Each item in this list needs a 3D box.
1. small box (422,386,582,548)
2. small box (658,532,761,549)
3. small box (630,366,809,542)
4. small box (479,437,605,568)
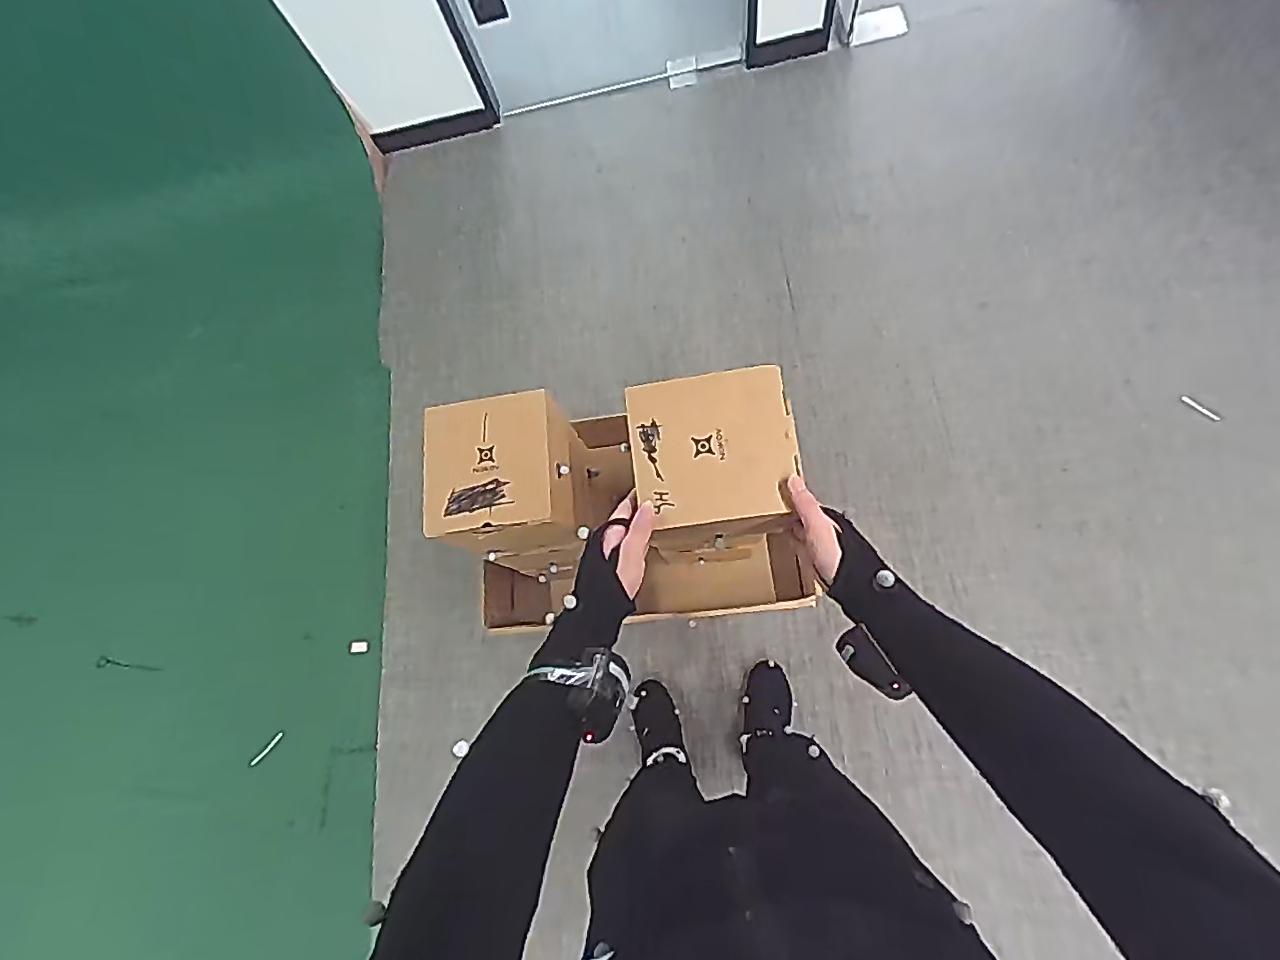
[{"bbox_3d":[-0.180,-0.006,0.745,0.168,0.176,0.179,-7,72,5],"label":"small box"},{"bbox_3d":[0.105,0.018,0.874,0.179,0.176,0.168,-4,76,6],"label":"small box"},{"bbox_3d":[0.086,-0.021,0.654,0.179,0.176,0.168,-7,76,3],"label":"small box"},{"bbox_3d":[-0.155,0.045,0.900,0.168,0.176,0.179,-6,74,6],"label":"small box"}]
